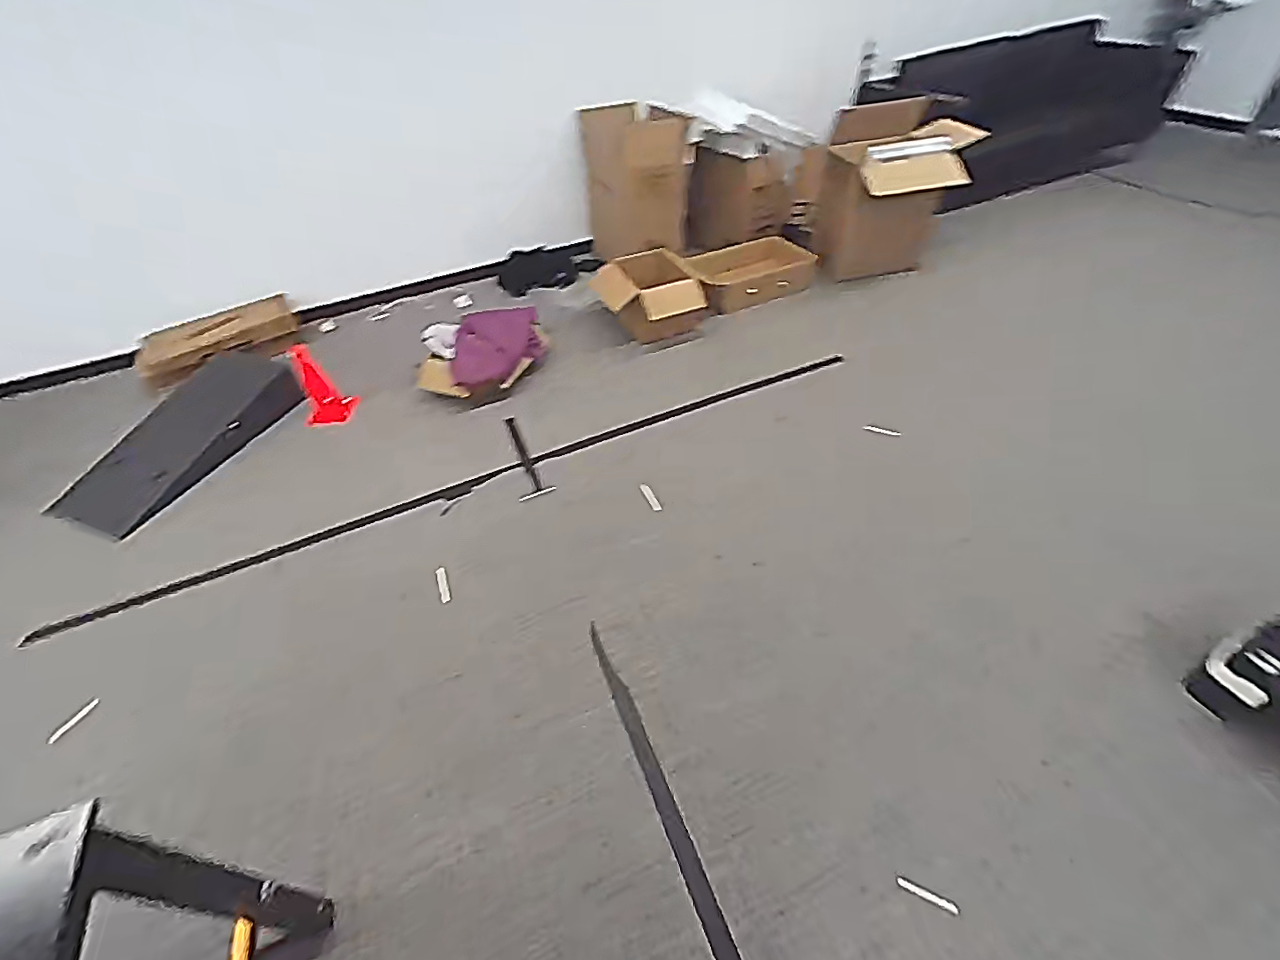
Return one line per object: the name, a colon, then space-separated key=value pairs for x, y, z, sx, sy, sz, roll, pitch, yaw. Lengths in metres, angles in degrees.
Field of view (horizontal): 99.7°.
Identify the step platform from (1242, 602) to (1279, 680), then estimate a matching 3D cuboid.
step platform: x=1.658 y=0.485 z=1.039 sx=0.286 sy=0.204 sz=0.684 roll=-21 pitch=47 yaw=-16
